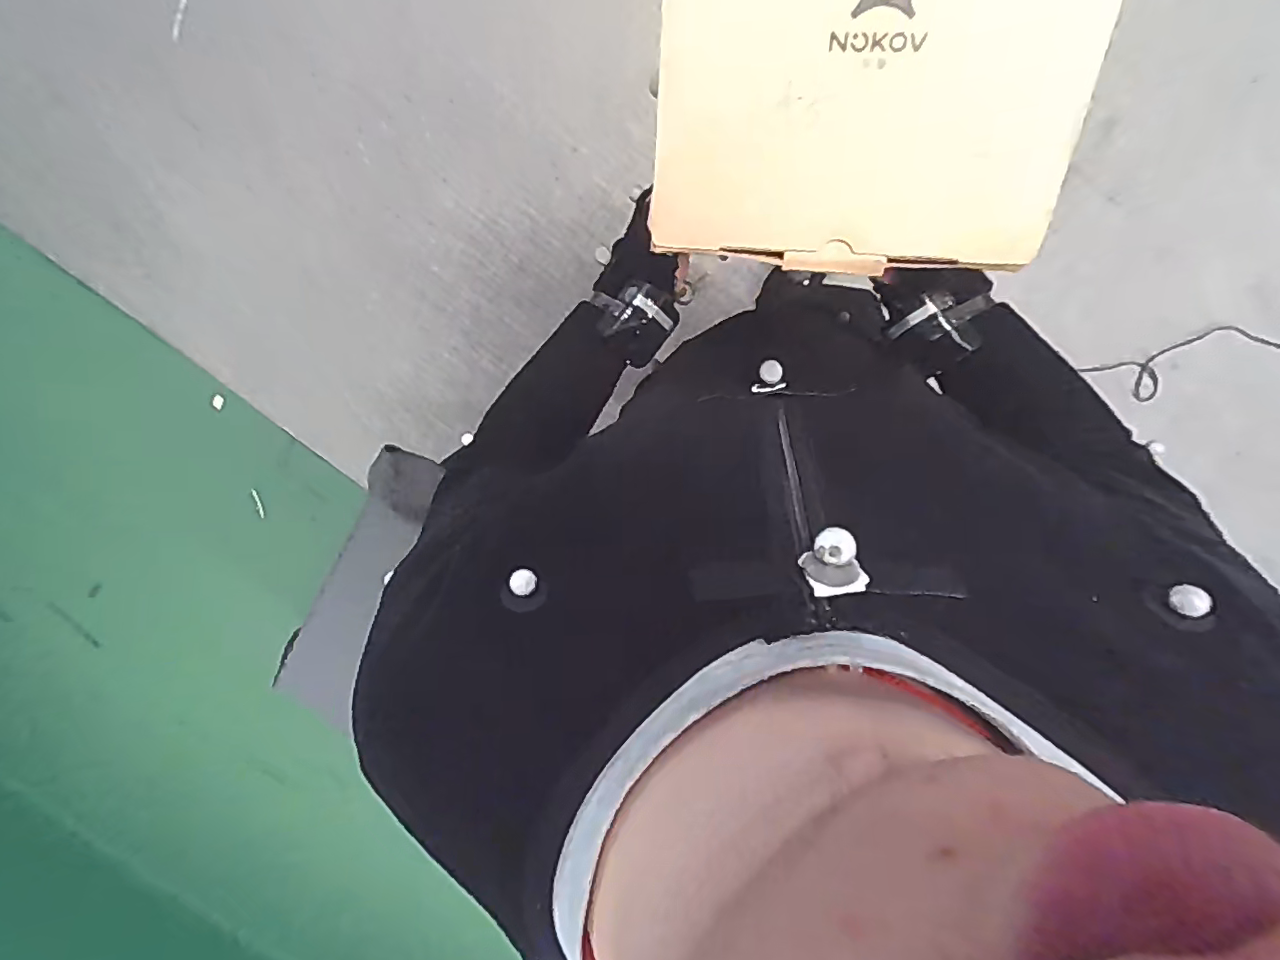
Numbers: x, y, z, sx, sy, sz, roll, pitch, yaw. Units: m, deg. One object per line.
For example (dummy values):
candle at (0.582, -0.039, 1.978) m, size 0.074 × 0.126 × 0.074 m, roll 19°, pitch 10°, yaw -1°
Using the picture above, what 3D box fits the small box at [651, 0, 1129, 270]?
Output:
small box at (0.101, -0.211, 0.268) m, size 0.168 × 0.176 × 0.179 m, roll 6°, pitch 117°, yaw 5°
